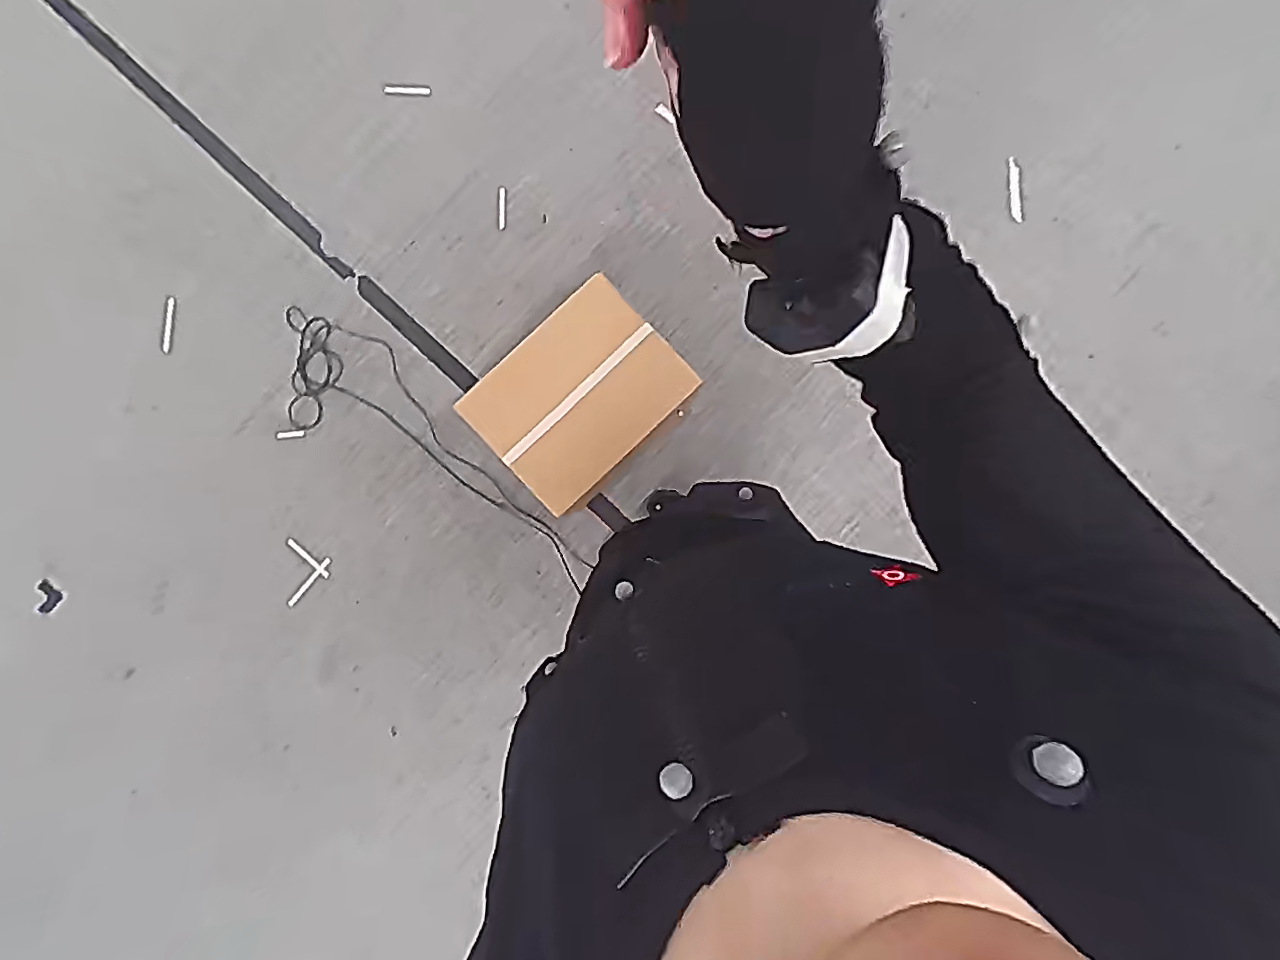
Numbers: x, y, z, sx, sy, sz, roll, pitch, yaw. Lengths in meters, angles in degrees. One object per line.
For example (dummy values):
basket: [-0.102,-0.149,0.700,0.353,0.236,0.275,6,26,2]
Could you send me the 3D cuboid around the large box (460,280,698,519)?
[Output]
large box: [-0.122,-0.163,1.246,0.408,0.320,0.320,-43,88,-1]
